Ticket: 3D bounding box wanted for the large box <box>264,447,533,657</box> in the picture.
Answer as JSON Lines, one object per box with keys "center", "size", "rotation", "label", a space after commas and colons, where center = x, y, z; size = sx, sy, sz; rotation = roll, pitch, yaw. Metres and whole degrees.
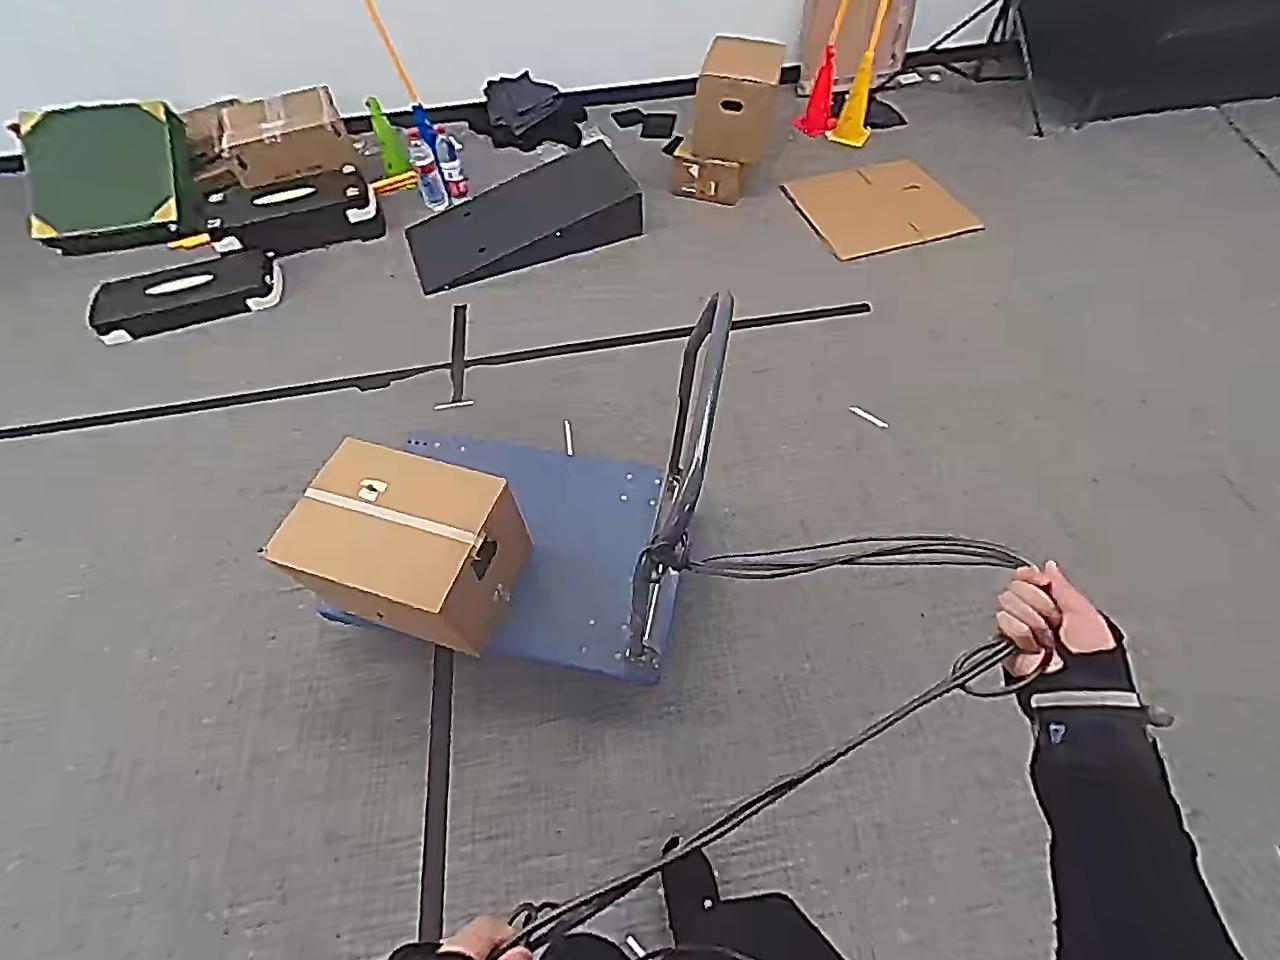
{"center": [-0.507, 0.170, 1.234], "size": [0.408, 0.320, 0.320], "rotation": [13, 58, 11], "label": "large box"}
